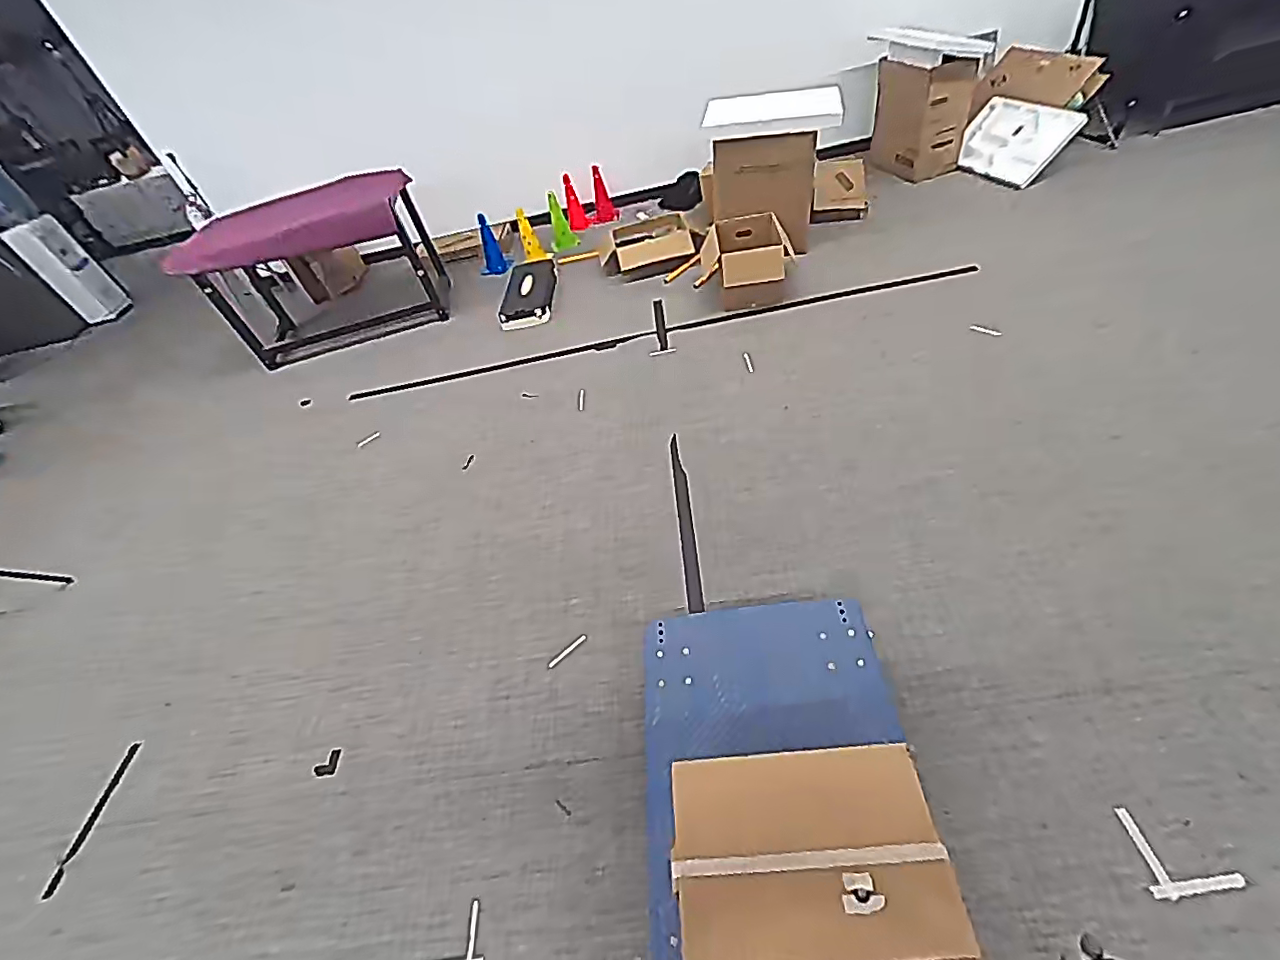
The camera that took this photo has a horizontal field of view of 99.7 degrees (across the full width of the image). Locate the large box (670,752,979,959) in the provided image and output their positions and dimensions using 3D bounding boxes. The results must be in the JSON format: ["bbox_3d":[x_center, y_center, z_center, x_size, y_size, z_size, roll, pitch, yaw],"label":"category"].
[{"bbox_3d":[0.276,0.695,0.918,0.408,0.320,0.320,-8,45,6],"label":"large box"}]
